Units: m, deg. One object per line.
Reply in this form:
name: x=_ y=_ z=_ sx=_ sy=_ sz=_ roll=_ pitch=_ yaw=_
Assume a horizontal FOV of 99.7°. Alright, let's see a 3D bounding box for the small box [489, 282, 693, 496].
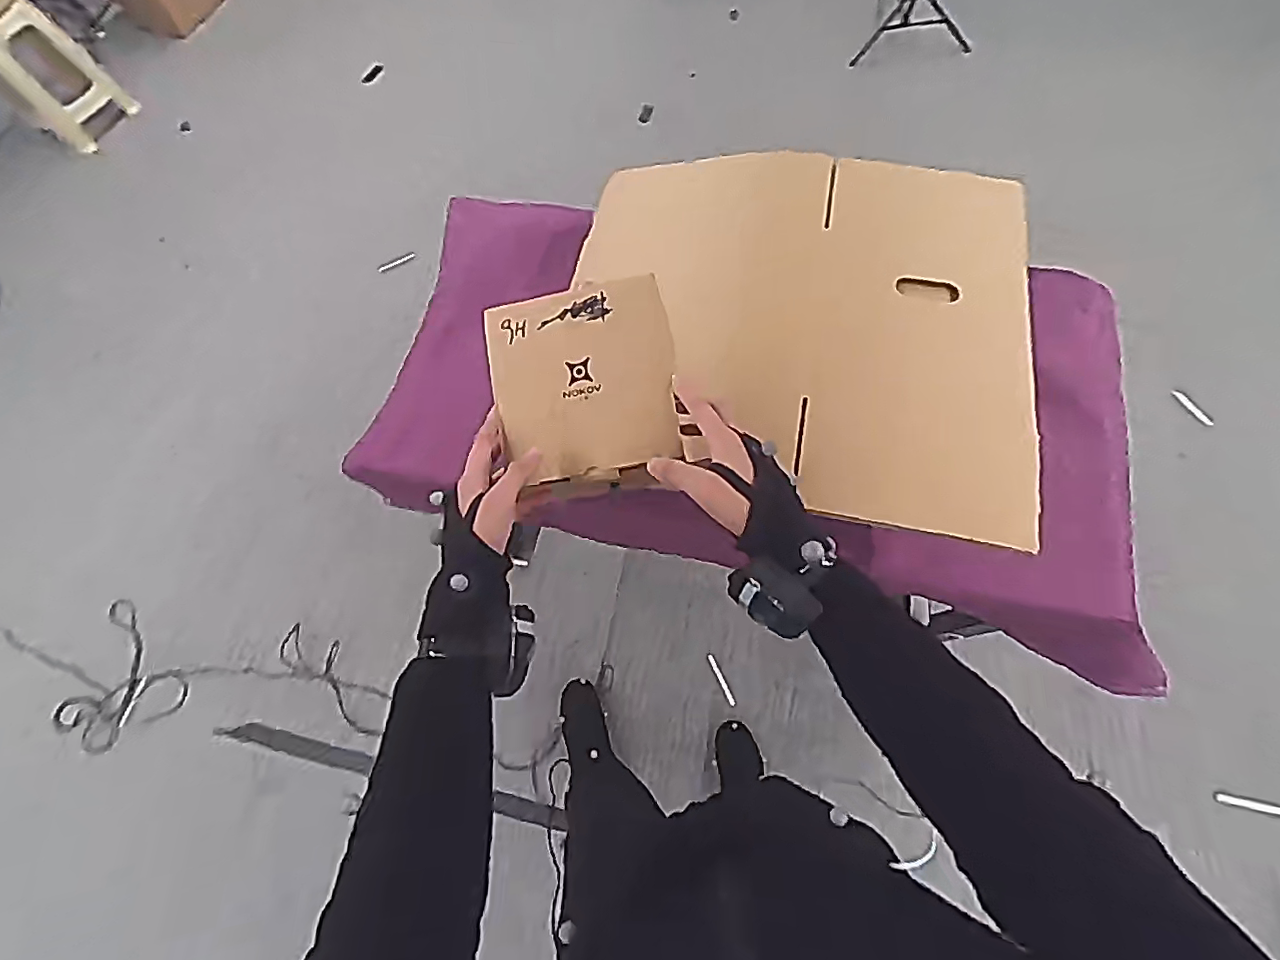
small box: x=-0.040 y=-0.079 z=0.576 sx=0.168 sy=0.176 sz=0.179 roll=-10 pitch=84 yaw=8
